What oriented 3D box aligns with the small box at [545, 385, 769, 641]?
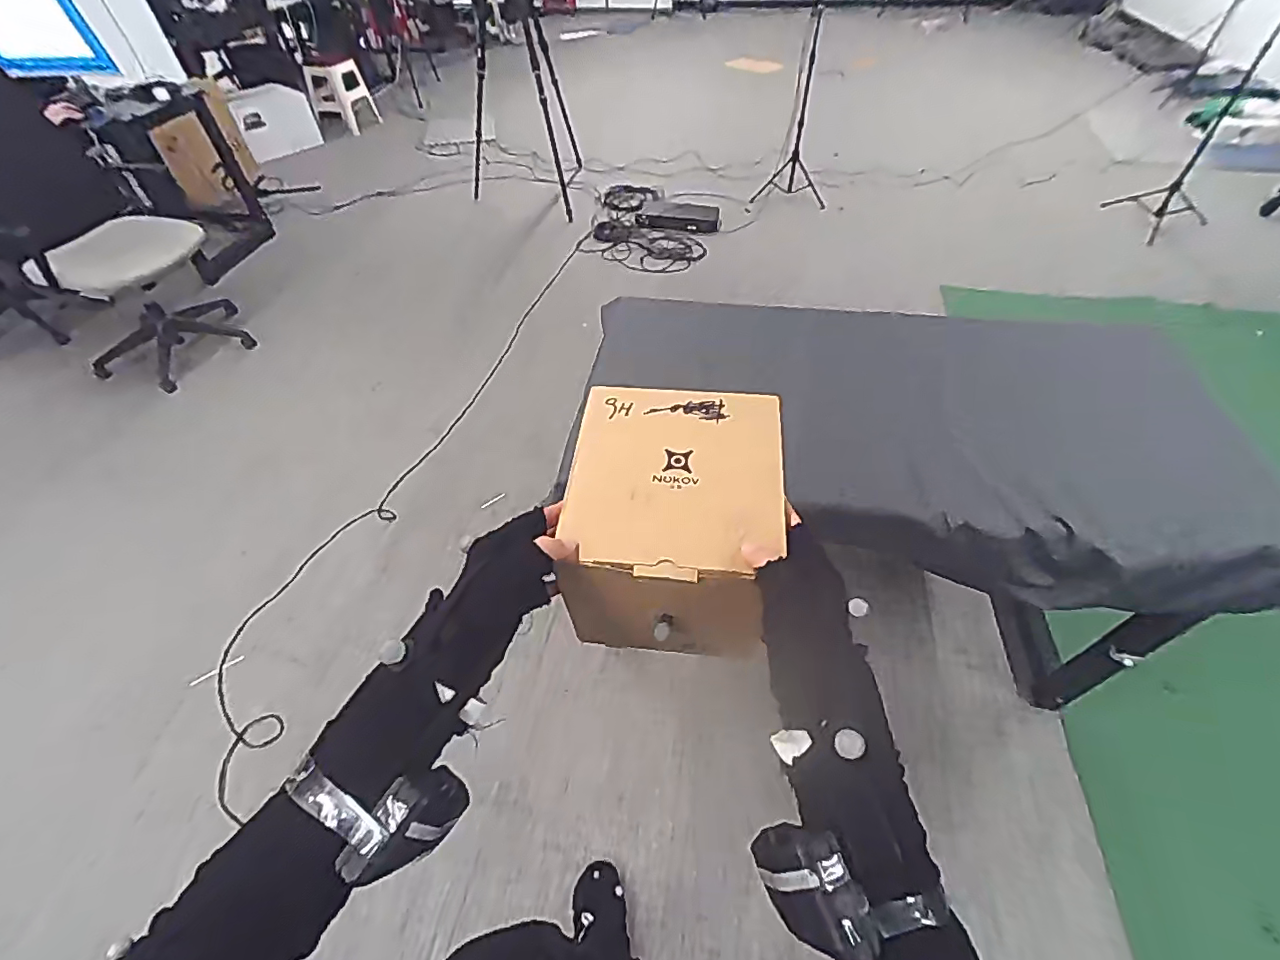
[{"bbox_3d":[0.026,0.035,0.496,0.168,0.176,0.179,3,56,6],"label":"small box"}]
